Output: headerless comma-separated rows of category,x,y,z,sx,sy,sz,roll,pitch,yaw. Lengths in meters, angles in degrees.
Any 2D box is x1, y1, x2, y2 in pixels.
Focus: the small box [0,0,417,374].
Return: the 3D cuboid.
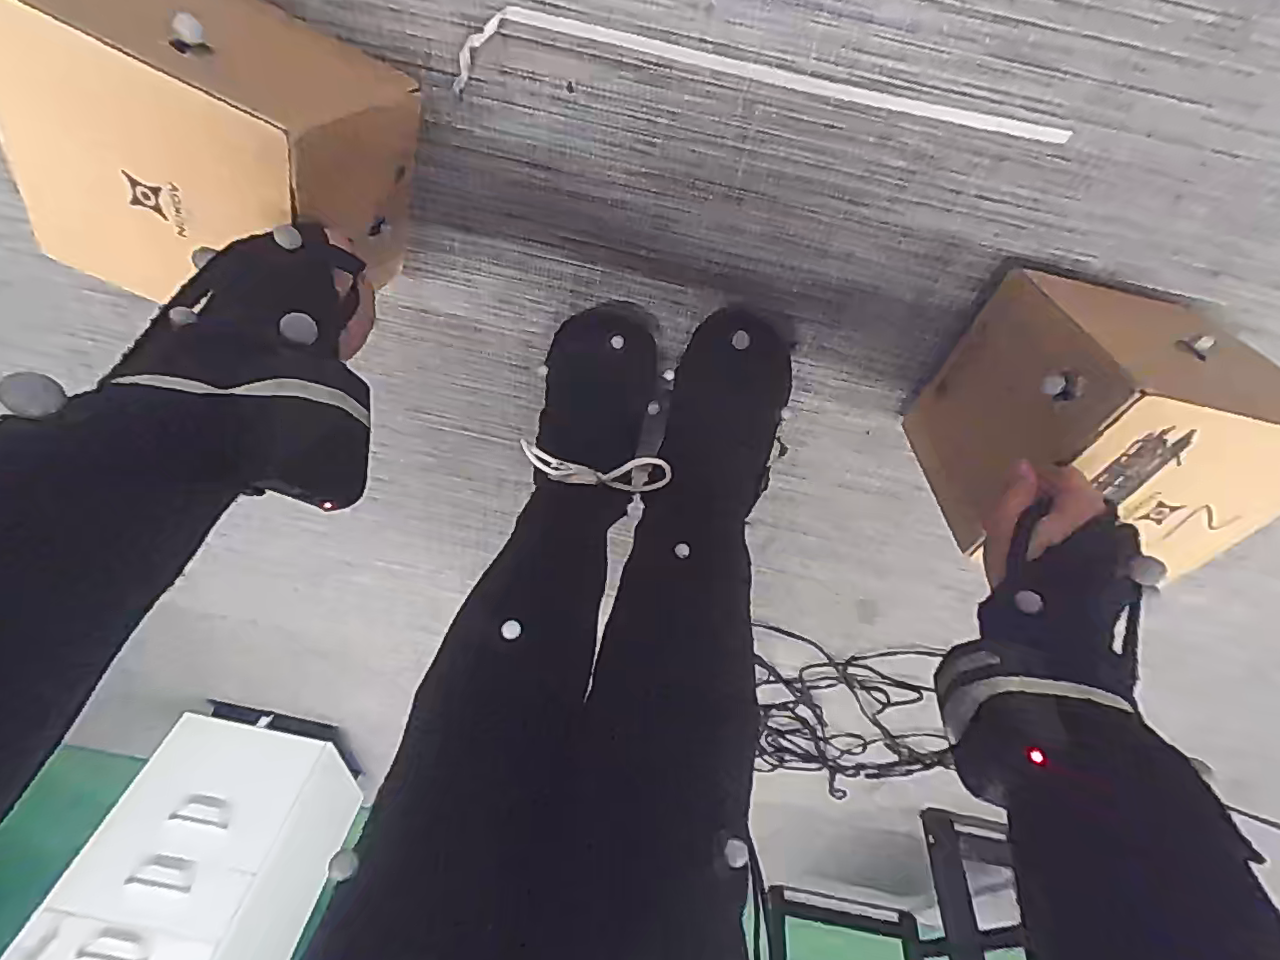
small box,-0.292,-0.215,0.395,0.179,0.176,0.168,23,133,-11
